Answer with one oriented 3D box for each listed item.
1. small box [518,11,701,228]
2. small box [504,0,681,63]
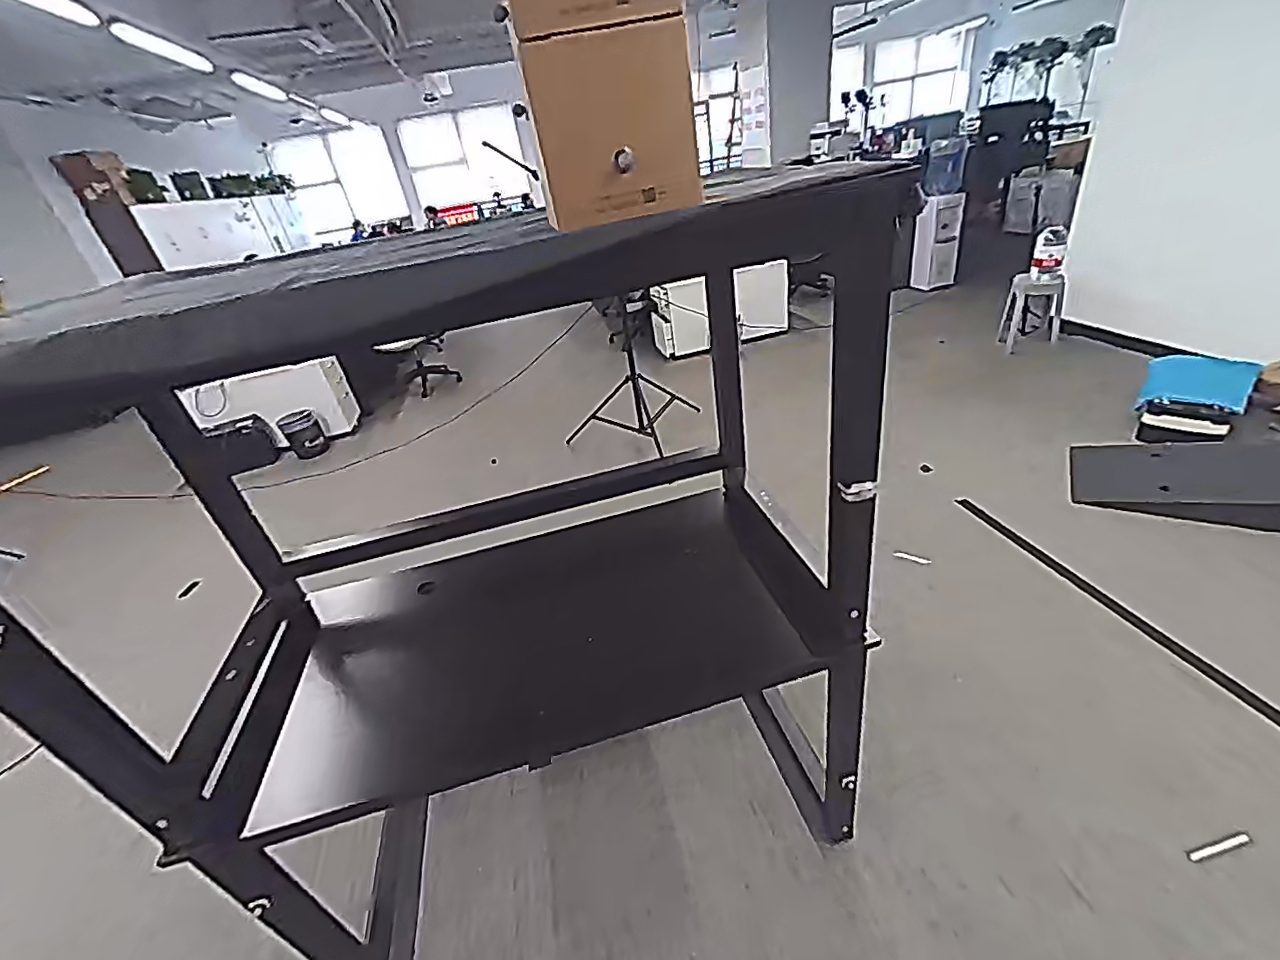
[{"bbox_3d":[-0.037,-0.396,0.620,0.168,0.176,0.179,-15,30,-5],"label":"small box"},{"bbox_3d":[-0.063,-0.536,0.539,0.168,0.176,0.179,-14,31,-5],"label":"small box"}]
